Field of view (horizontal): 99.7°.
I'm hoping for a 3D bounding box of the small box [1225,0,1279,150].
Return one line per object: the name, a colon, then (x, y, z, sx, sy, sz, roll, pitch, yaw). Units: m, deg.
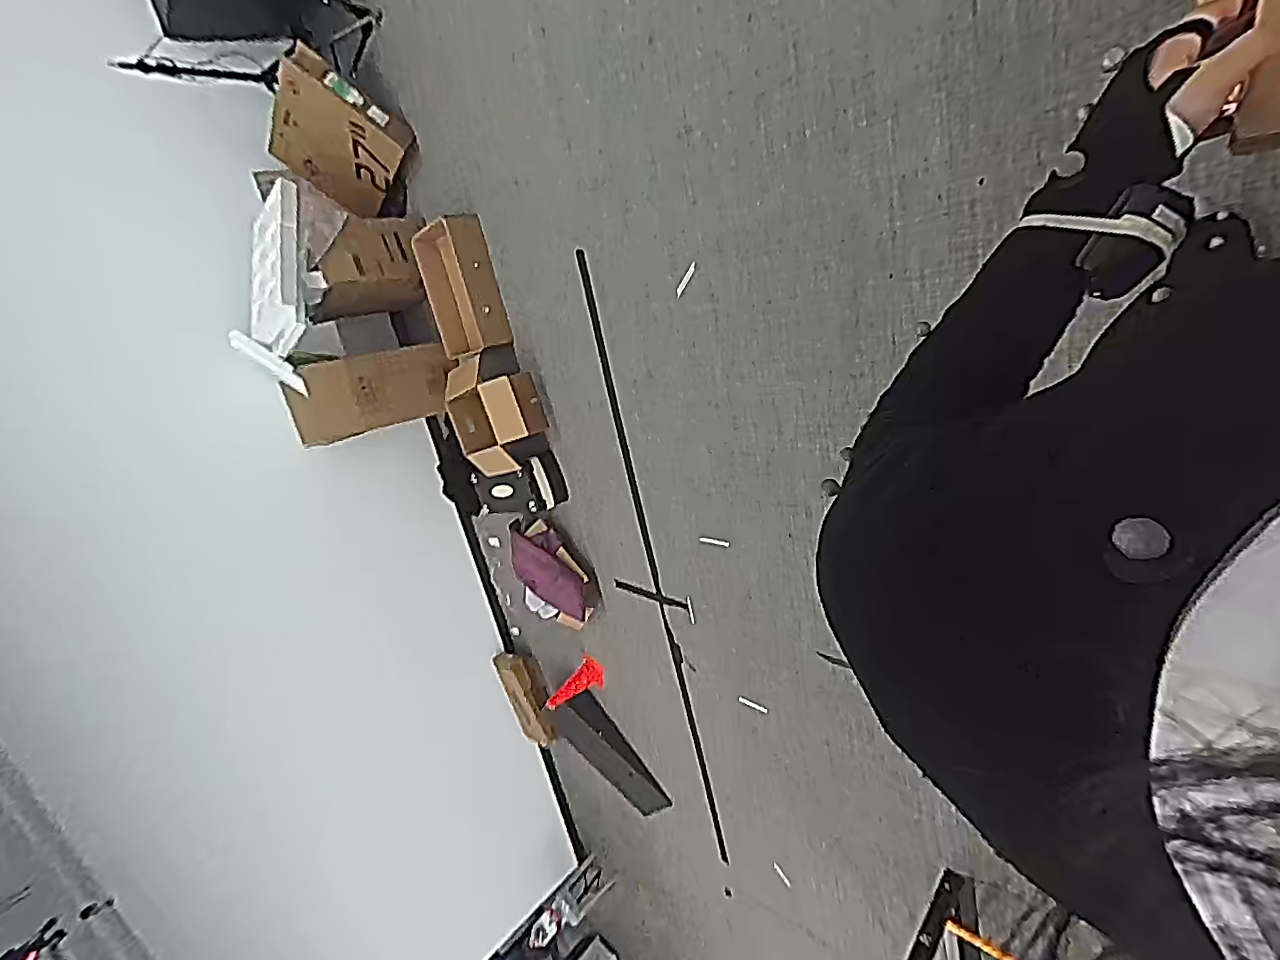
small box: (0.507, -0.326, 0.340, 0.168, 0.176, 0.179, 11, 117, 45)
